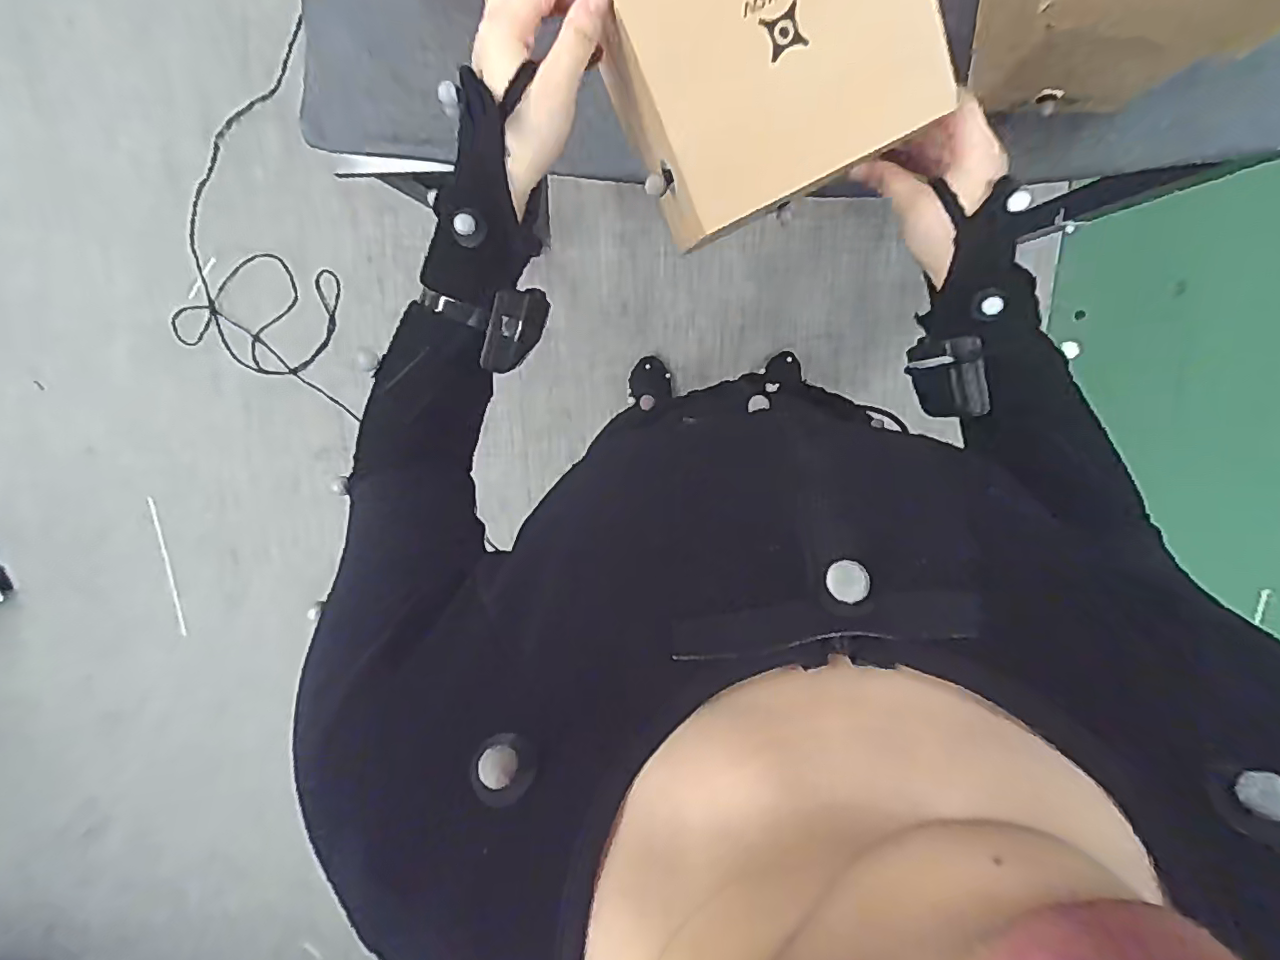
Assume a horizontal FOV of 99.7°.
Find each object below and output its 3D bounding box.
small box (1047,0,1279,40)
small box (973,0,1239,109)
[{"bbox_3d":[0.430,-0.436,0.356,0.179,0.176,0.168,13,103,4],"label":"small box"},{"bbox_3d":[0.447,-0.486,0.511,0.168,0.176,0.179,2,104,6],"label":"small box"}]
